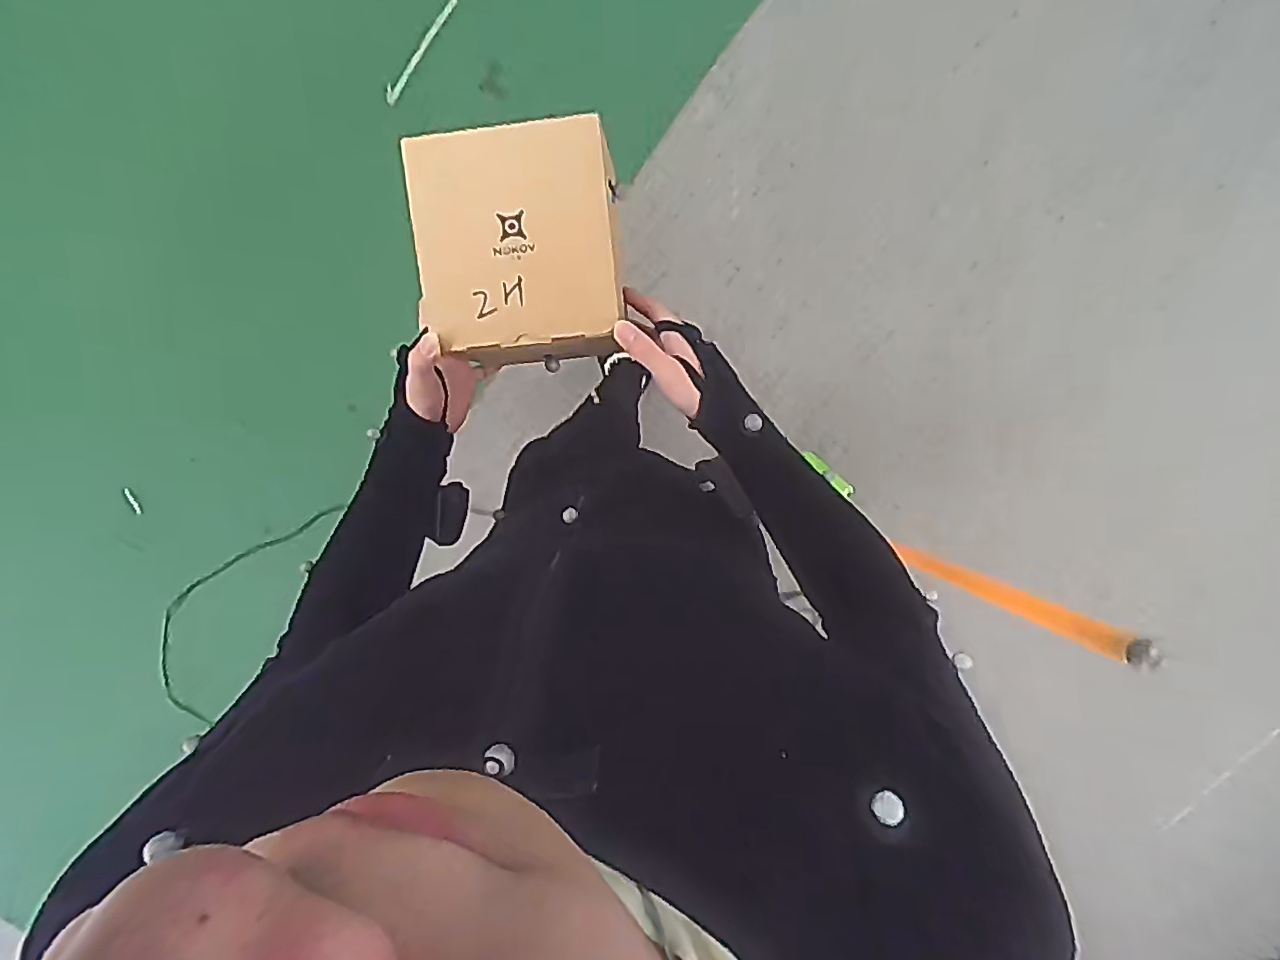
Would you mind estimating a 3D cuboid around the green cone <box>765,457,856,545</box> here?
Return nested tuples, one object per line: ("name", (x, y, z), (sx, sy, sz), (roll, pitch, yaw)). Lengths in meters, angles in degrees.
("green cone", (0.479, 0.092, 1.388), (0.200, 0.368, 0.202), (39, 100, -3))
